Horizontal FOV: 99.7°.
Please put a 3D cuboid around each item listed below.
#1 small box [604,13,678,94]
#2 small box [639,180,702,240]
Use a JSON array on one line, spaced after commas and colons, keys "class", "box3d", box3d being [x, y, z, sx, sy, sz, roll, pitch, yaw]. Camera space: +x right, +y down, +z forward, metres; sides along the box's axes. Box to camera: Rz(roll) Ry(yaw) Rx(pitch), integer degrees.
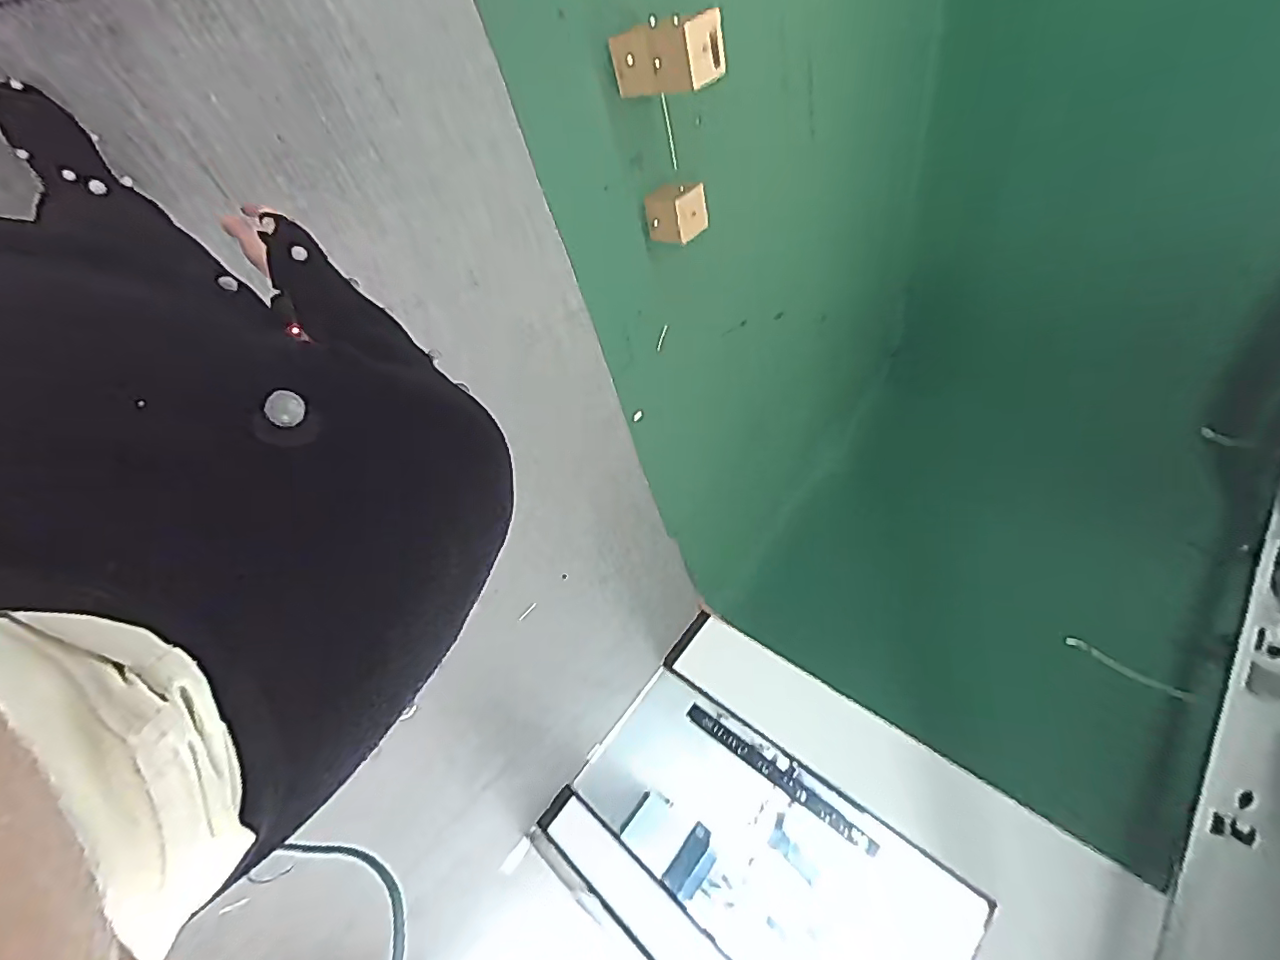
[{"class": "small box", "box3d": [-0.002, -1.422, 1.809, 0.179, 0.176, 0.168, -47, 140, -24]}, {"class": "small box", "box3d": [0.123, -1.082, 2.157, 0.179, 0.176, 0.168, -46, 140, -24]}]
